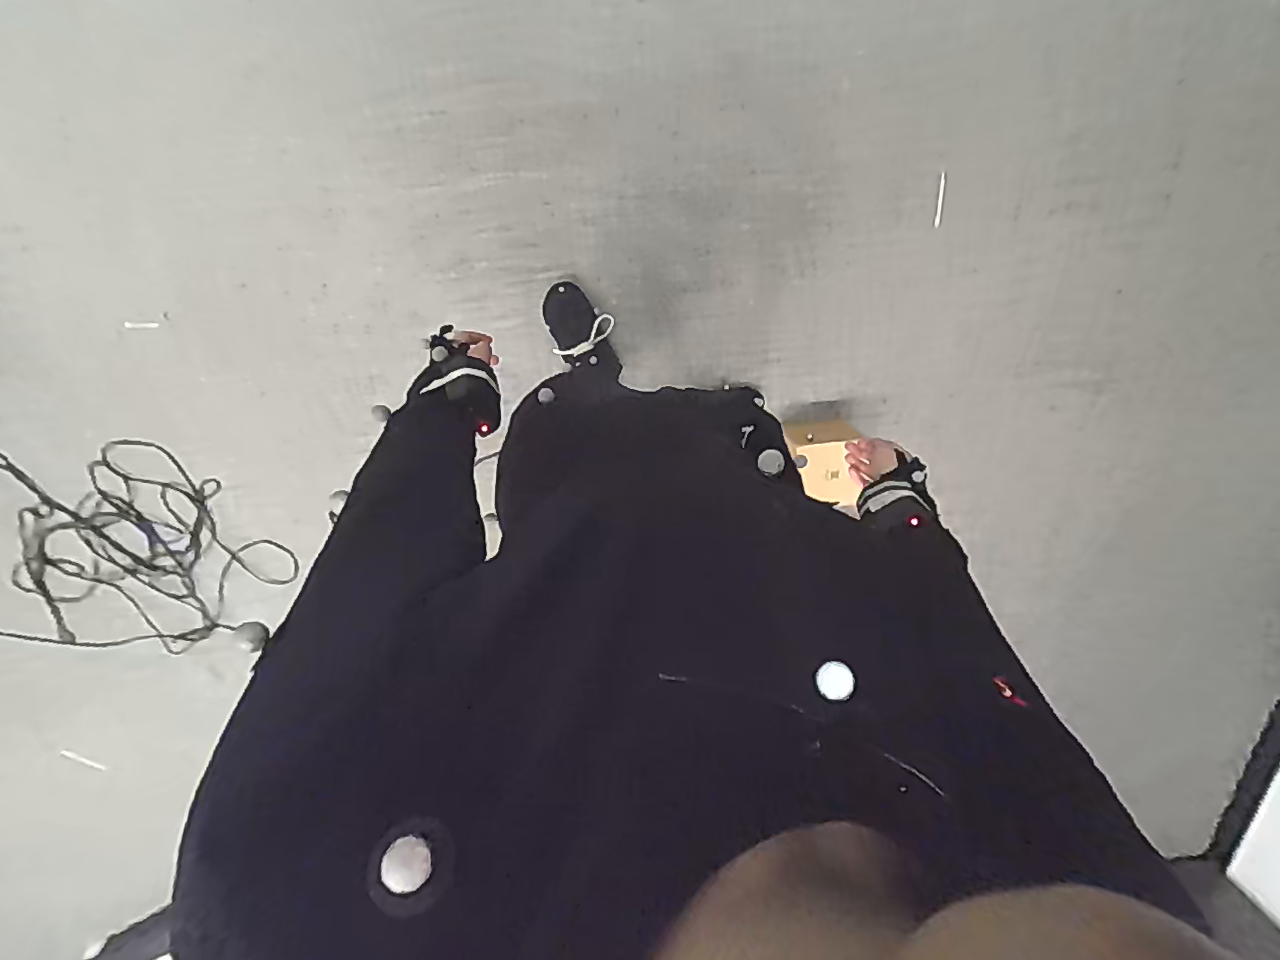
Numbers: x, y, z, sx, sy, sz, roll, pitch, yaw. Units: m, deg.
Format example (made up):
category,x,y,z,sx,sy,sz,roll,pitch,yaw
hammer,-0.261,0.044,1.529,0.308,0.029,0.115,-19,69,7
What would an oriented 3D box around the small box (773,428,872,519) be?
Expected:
category,x,y,z,sx,sy,sz,roll,pitch,yaw
small box,0.436,-0.023,1.313,0.179,0.176,0.168,-6,112,-1
